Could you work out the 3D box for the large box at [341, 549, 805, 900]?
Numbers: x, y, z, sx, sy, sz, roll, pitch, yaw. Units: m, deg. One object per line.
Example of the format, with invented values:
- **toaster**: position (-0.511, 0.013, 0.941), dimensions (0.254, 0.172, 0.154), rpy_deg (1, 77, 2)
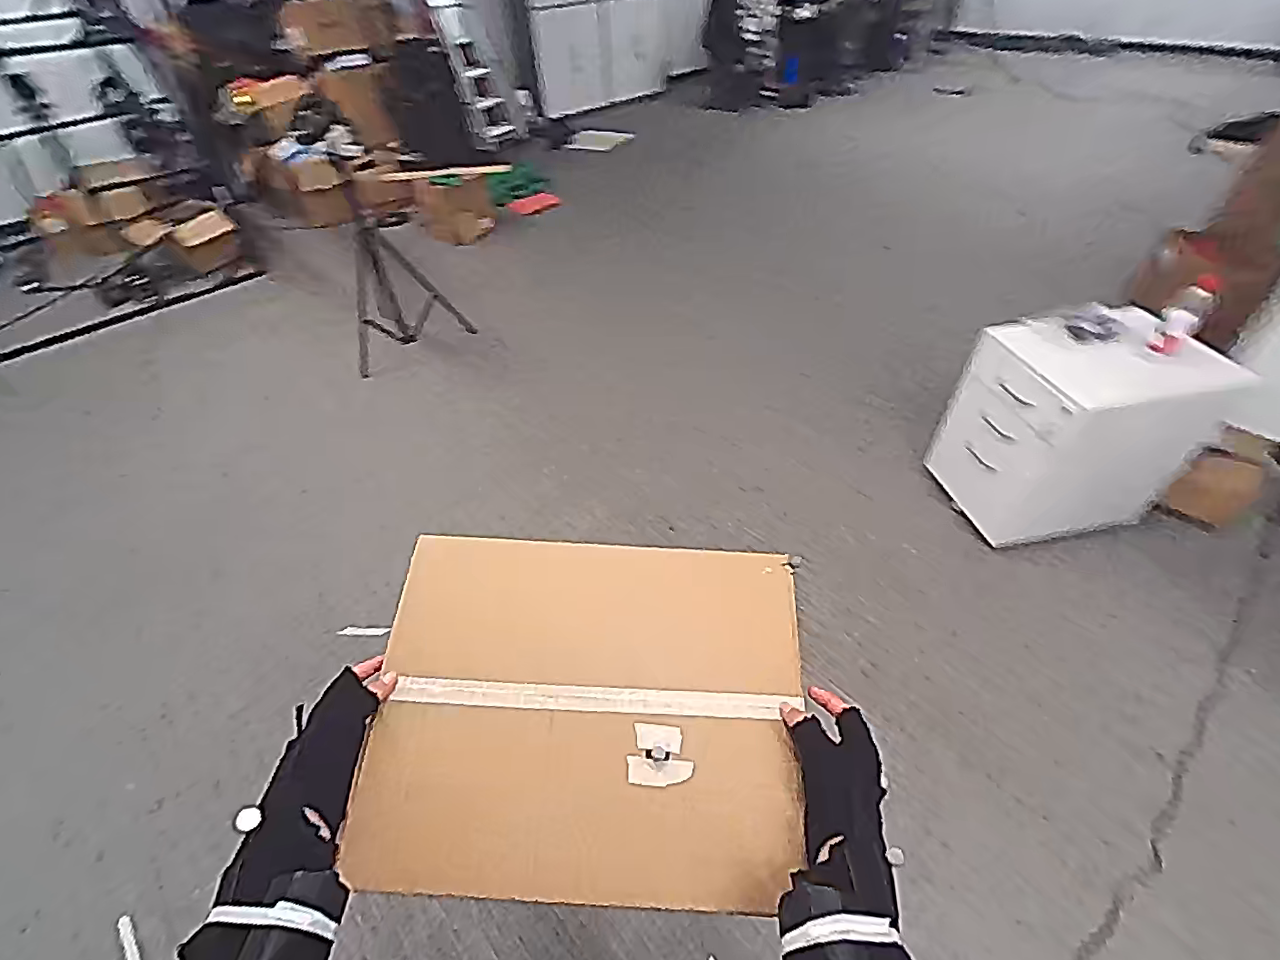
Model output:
- **large box**: position (-0.058, 0.289, 0.658), dimensions (0.408, 0.320, 0.320), rpy_deg (2, 62, -1)
